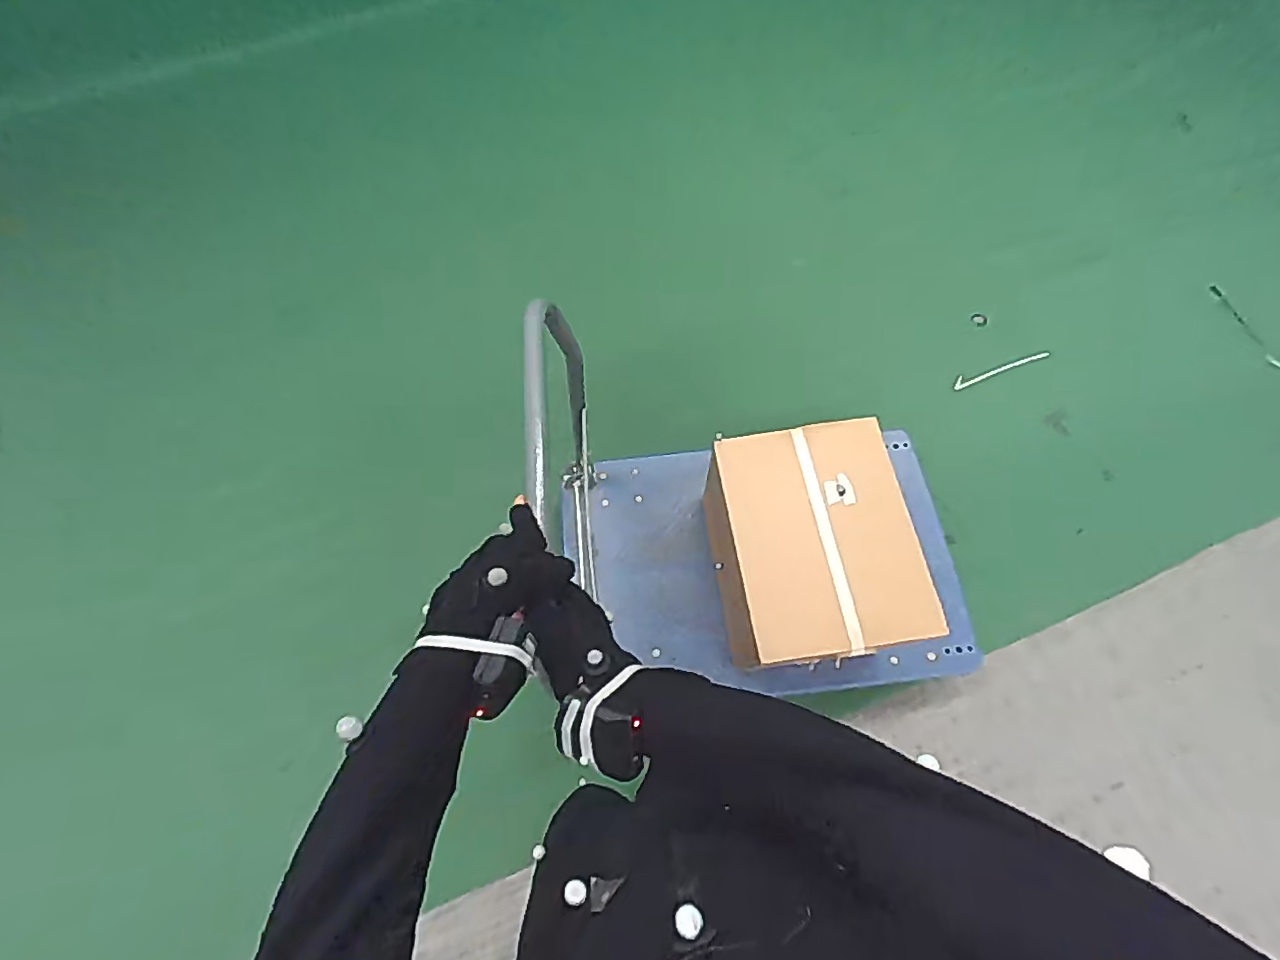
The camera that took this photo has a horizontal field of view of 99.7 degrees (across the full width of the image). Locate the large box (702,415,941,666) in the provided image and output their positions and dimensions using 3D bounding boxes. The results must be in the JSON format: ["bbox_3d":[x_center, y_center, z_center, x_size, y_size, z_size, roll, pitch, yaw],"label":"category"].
[{"bbox_3d":[0.320,0.136,1.090,0.320,0.320,0.408,-8,68,-2],"label":"large box"}]
